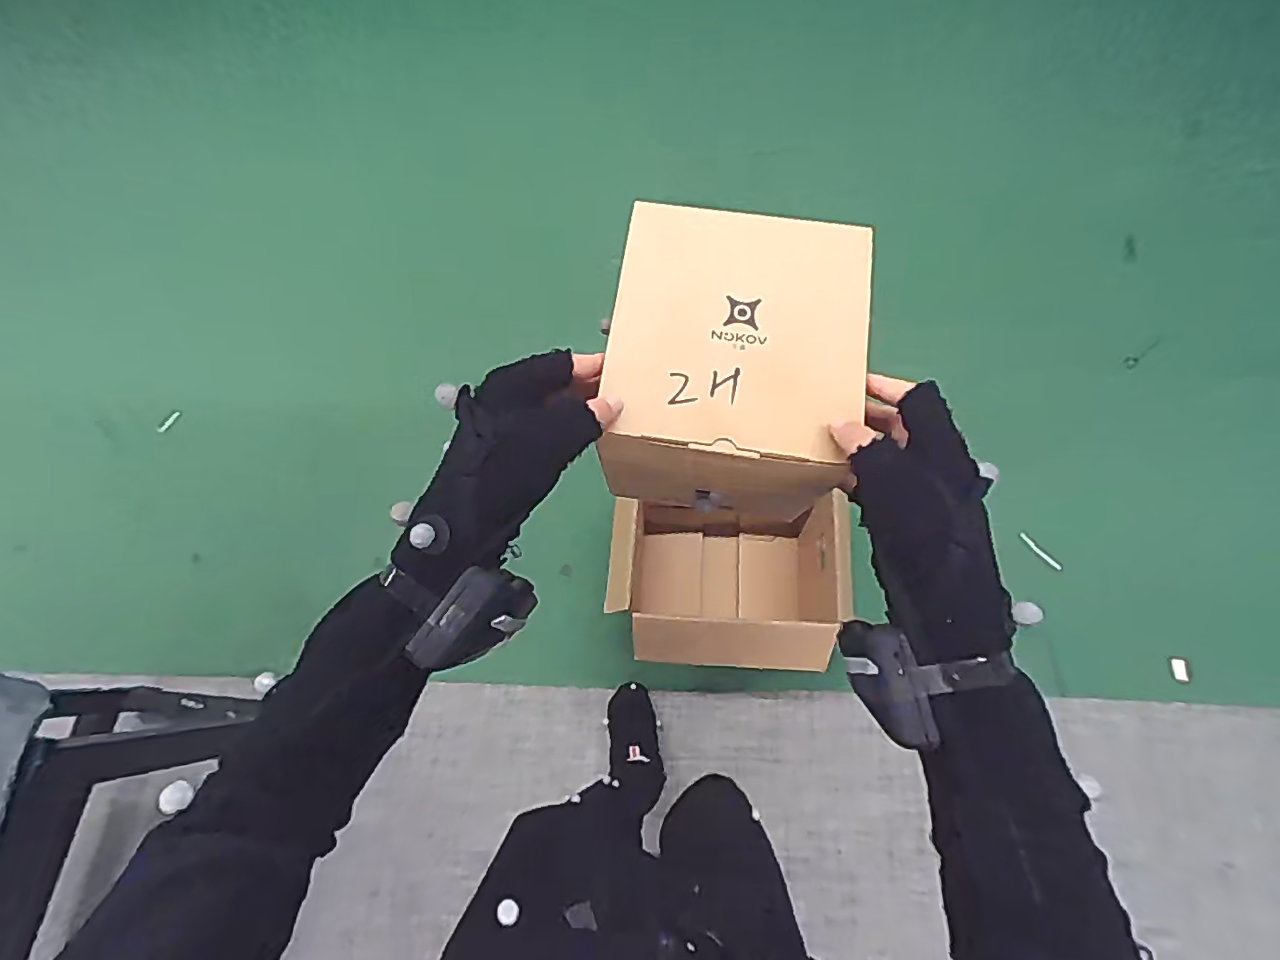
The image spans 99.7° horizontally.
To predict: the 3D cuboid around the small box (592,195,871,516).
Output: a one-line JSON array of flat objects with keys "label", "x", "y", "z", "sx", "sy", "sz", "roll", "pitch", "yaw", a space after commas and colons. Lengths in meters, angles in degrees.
[{"label": "small box", "x": 0.064, "y": -0.083, "z": 0.427, "sx": 0.168, "sy": 0.176, "sz": 0.179, "roll": 9, "pitch": 75, "yaw": 4}]
